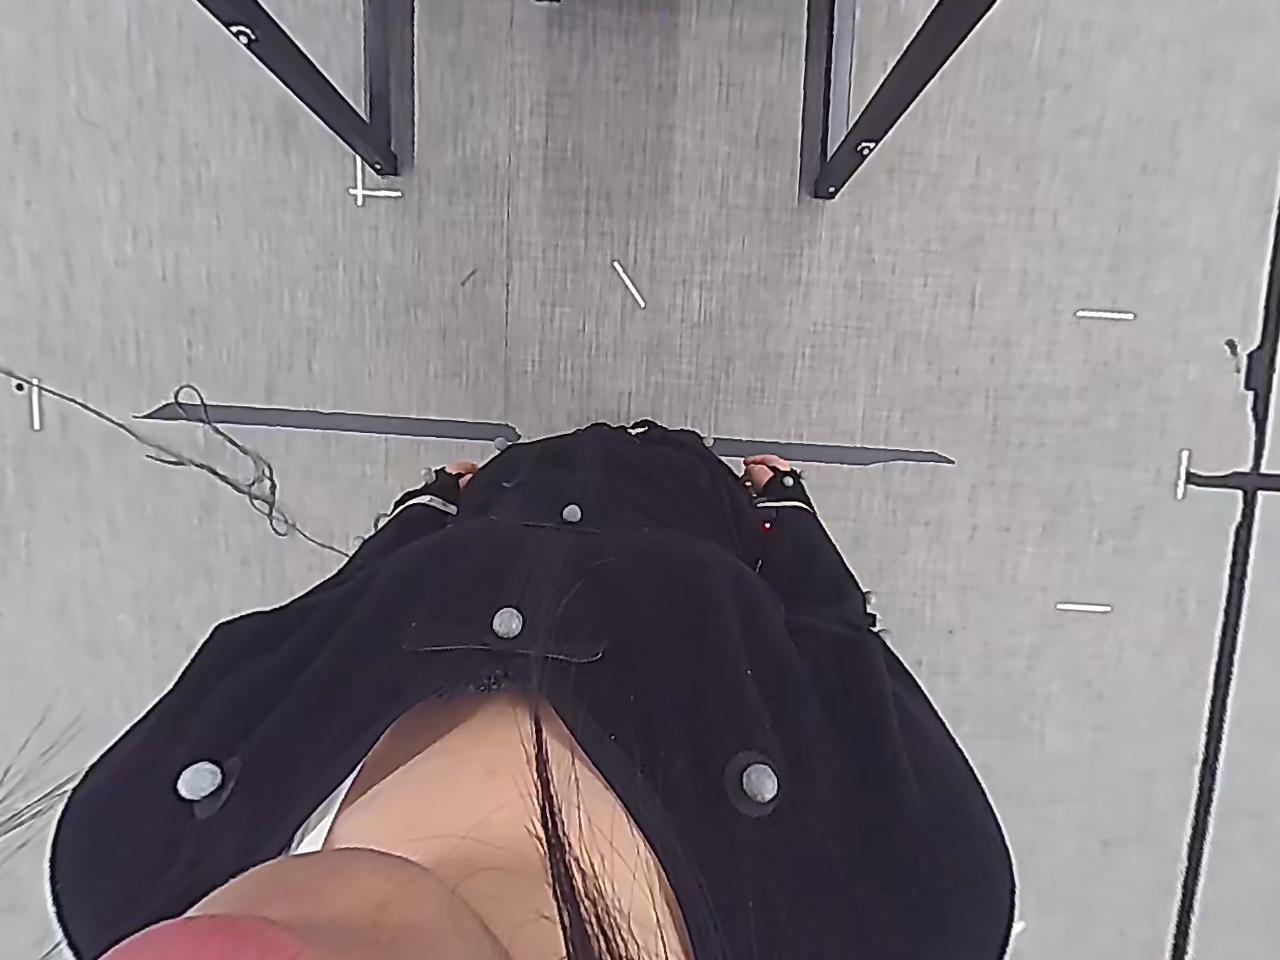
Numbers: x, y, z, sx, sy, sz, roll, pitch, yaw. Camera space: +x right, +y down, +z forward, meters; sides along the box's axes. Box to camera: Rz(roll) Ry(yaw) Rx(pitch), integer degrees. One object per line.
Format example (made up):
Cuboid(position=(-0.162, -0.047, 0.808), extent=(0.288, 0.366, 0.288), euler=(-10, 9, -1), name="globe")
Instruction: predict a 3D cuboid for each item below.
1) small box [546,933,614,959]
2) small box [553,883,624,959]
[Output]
Cuboid(position=(-0.142, 1.285, 1.338), extent=(0.168, 0.176, 0.179), euler=(-11, 95, -1), name="small box")
Cuboid(position=(-0.138, 1.264, 1.502), extent=(0.168, 0.176, 0.179), euler=(-11, 95, 0), name="small box")
